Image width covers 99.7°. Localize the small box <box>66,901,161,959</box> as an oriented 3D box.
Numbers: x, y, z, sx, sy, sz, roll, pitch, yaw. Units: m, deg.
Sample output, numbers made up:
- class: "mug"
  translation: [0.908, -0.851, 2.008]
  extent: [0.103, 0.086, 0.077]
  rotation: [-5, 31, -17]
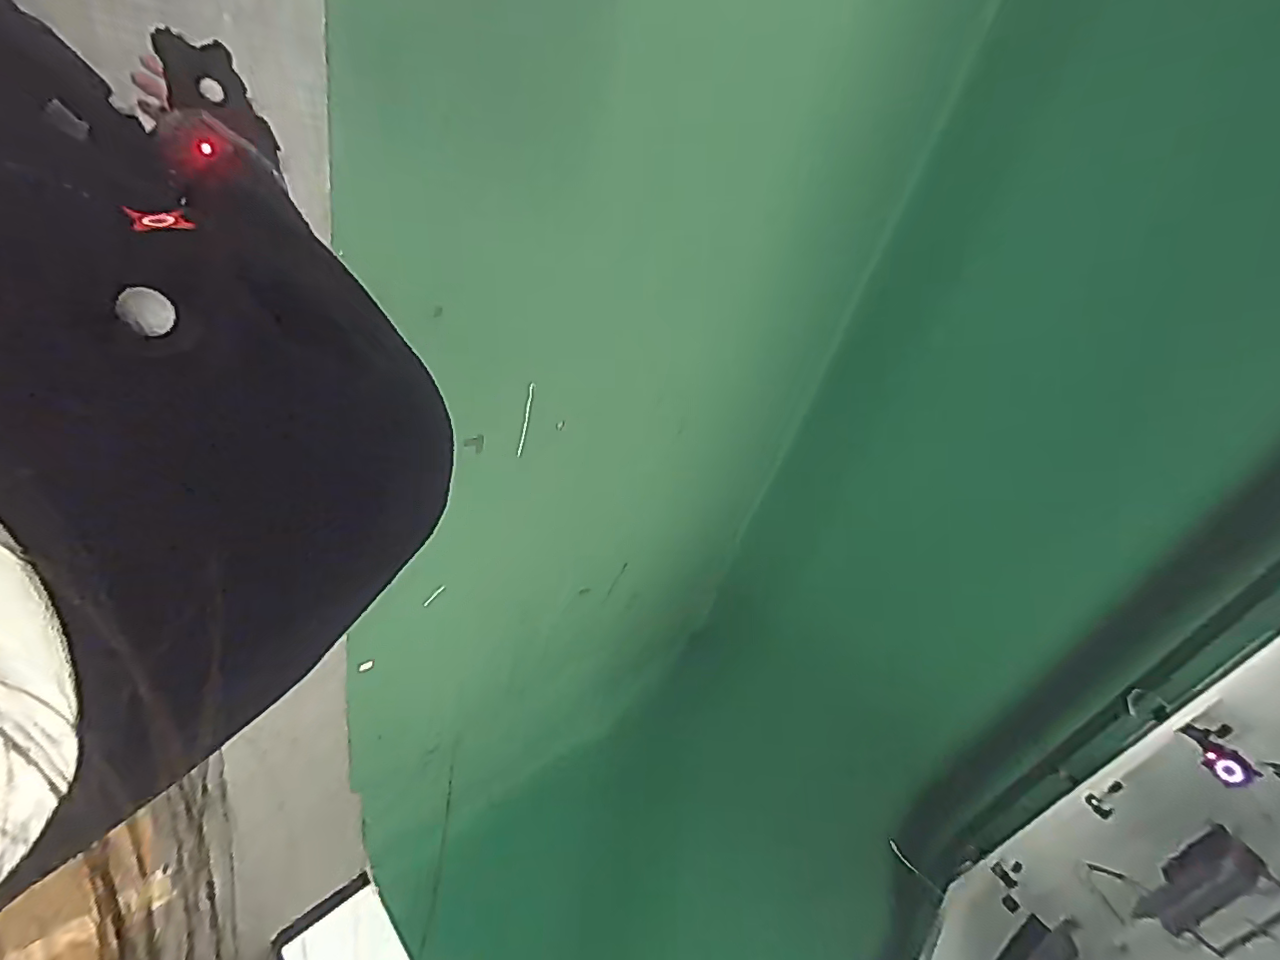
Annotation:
- class: "small box"
  translation: [-1.470, 1.350, 1.513]
  extent: [0.179, 0.176, 0.168]
  rotation: [-13, 128, -48]
